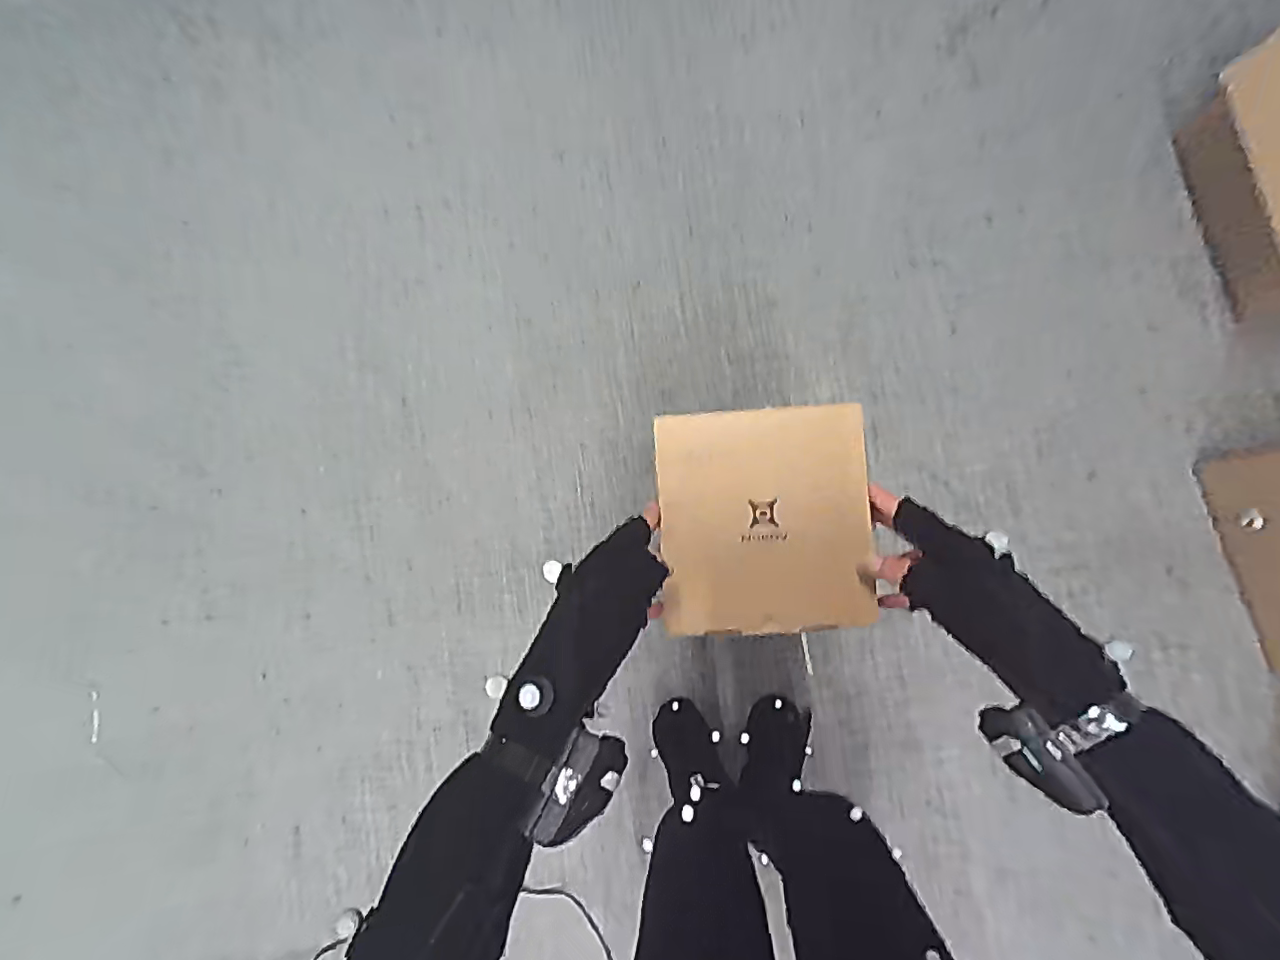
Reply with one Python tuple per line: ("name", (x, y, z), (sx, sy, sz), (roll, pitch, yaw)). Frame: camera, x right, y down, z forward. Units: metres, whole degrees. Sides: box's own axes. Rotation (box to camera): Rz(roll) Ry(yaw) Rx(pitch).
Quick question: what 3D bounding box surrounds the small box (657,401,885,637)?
("small box", (0.101, 0.035, 0.491), (0.168, 0.176, 0.179), (-4, 86, 4))
